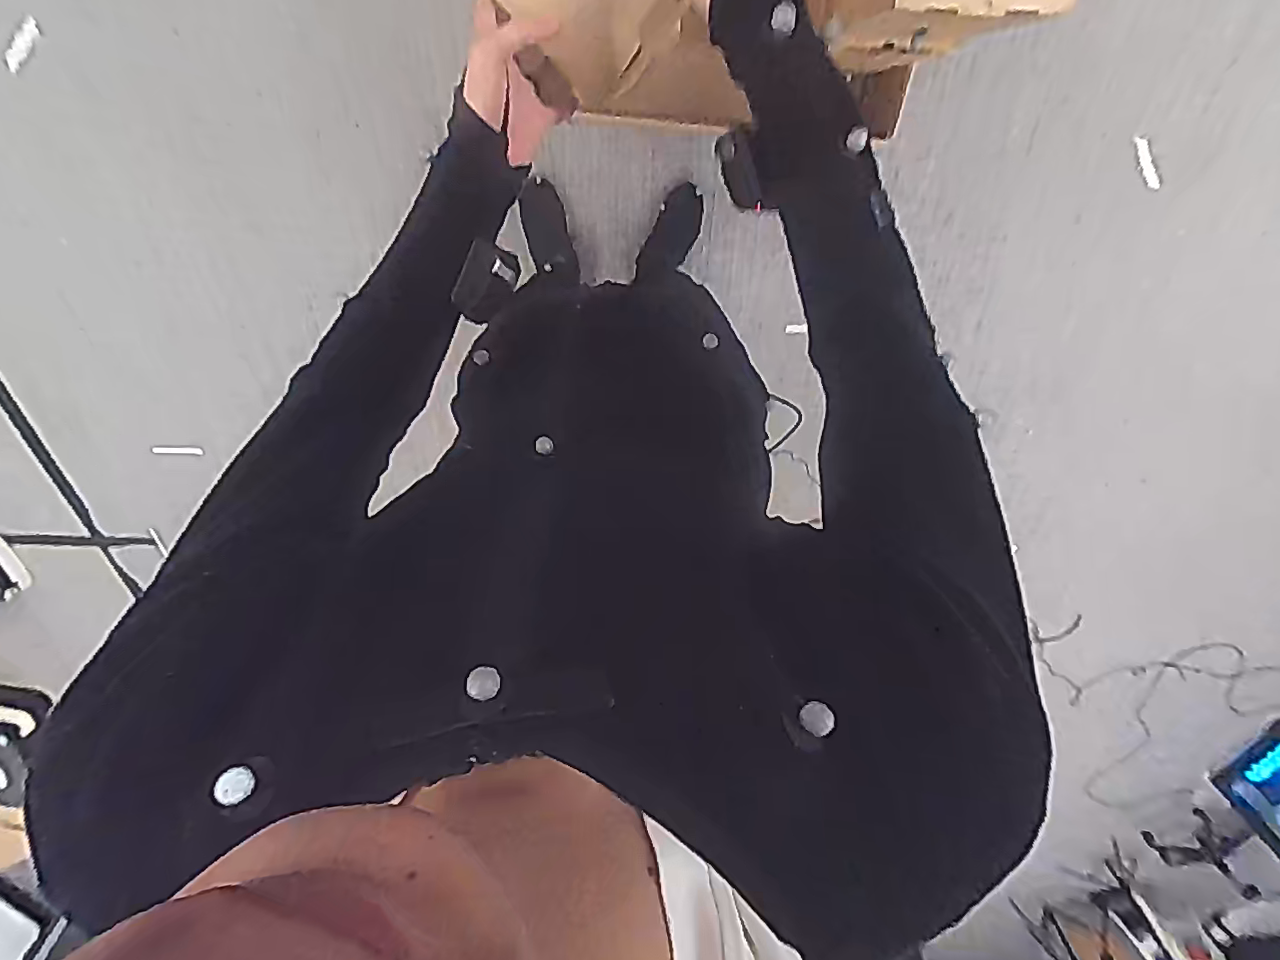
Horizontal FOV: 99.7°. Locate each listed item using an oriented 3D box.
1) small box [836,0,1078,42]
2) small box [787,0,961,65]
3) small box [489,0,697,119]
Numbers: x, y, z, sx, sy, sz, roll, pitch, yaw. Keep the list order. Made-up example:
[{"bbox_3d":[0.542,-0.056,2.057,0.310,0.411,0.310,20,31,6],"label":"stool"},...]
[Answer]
[{"bbox_3d":[0.299,-0.525,0.494,0.168,0.176,0.179,-1,124,-3],"label":"small box"},{"bbox_3d":[0.284,-0.606,0.638,0.168,0.176,0.179,-1,123,-3],"label":"small box"},{"bbox_3d":[-0.034,-0.468,0.469,0.179,0.176,0.168,38,129,-24],"label":"small box"}]
